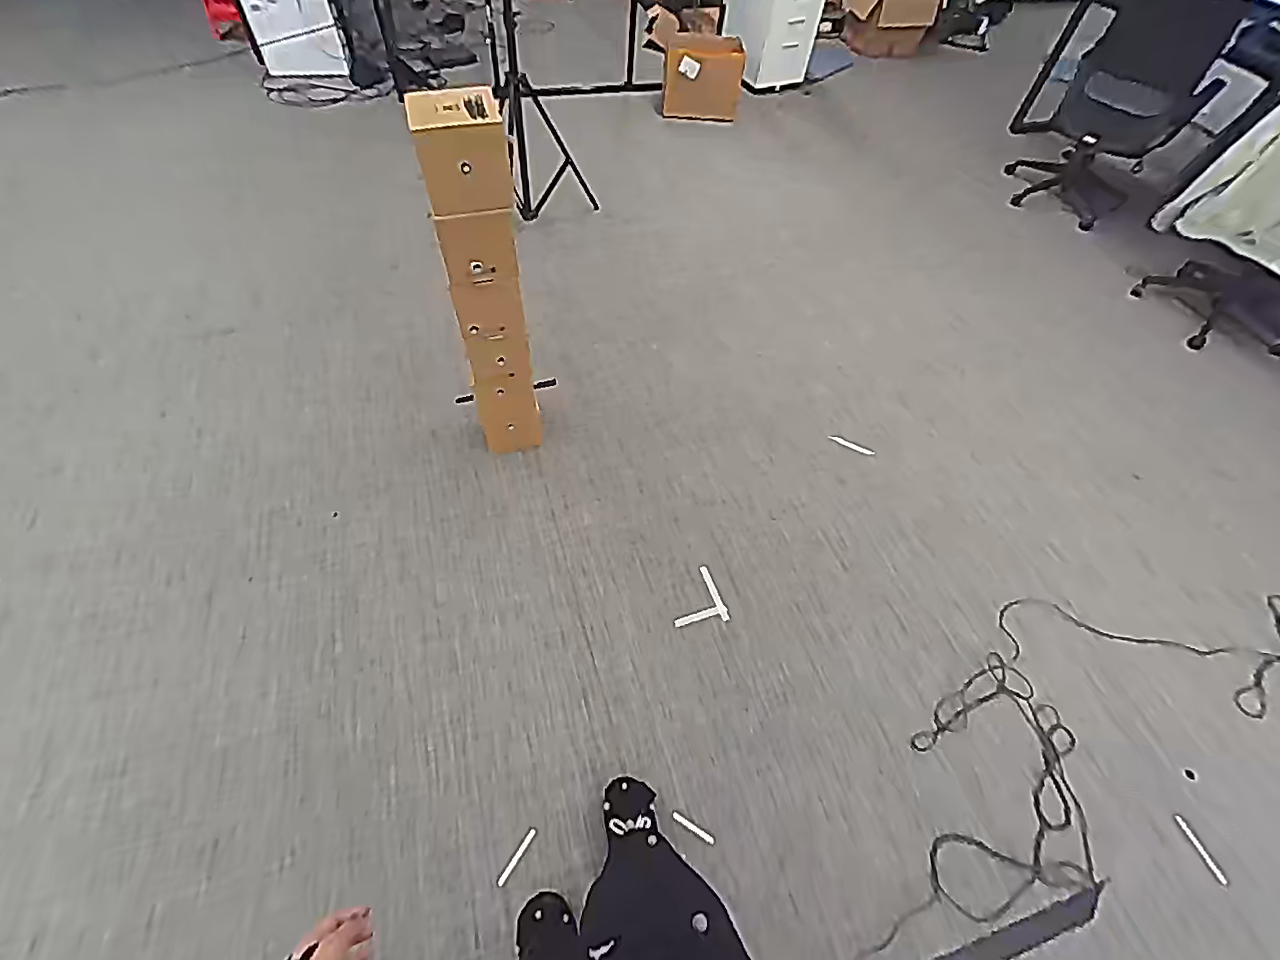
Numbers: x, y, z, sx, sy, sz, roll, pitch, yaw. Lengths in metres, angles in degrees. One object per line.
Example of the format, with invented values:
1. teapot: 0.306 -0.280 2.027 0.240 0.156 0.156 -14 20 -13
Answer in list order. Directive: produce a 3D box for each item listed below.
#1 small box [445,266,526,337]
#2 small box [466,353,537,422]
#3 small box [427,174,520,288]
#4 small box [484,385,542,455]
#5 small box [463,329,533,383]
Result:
1. small box: -0.396 -0.484 1.387 0.168 0.176 0.179 -12 57 -12
2. small box: -0.421 -0.294 1.652 0.179 0.176 0.168 -11 58 -11
3. small box: -0.383 -0.576 1.254 0.168 0.176 0.179 -14 59 -12
4. small box: -0.426 -0.206 1.791 0.179 0.176 0.168 -13 58 -13
5. small box: -0.403 -0.390 1.521 0.168 0.176 0.179 -11 58 -12
